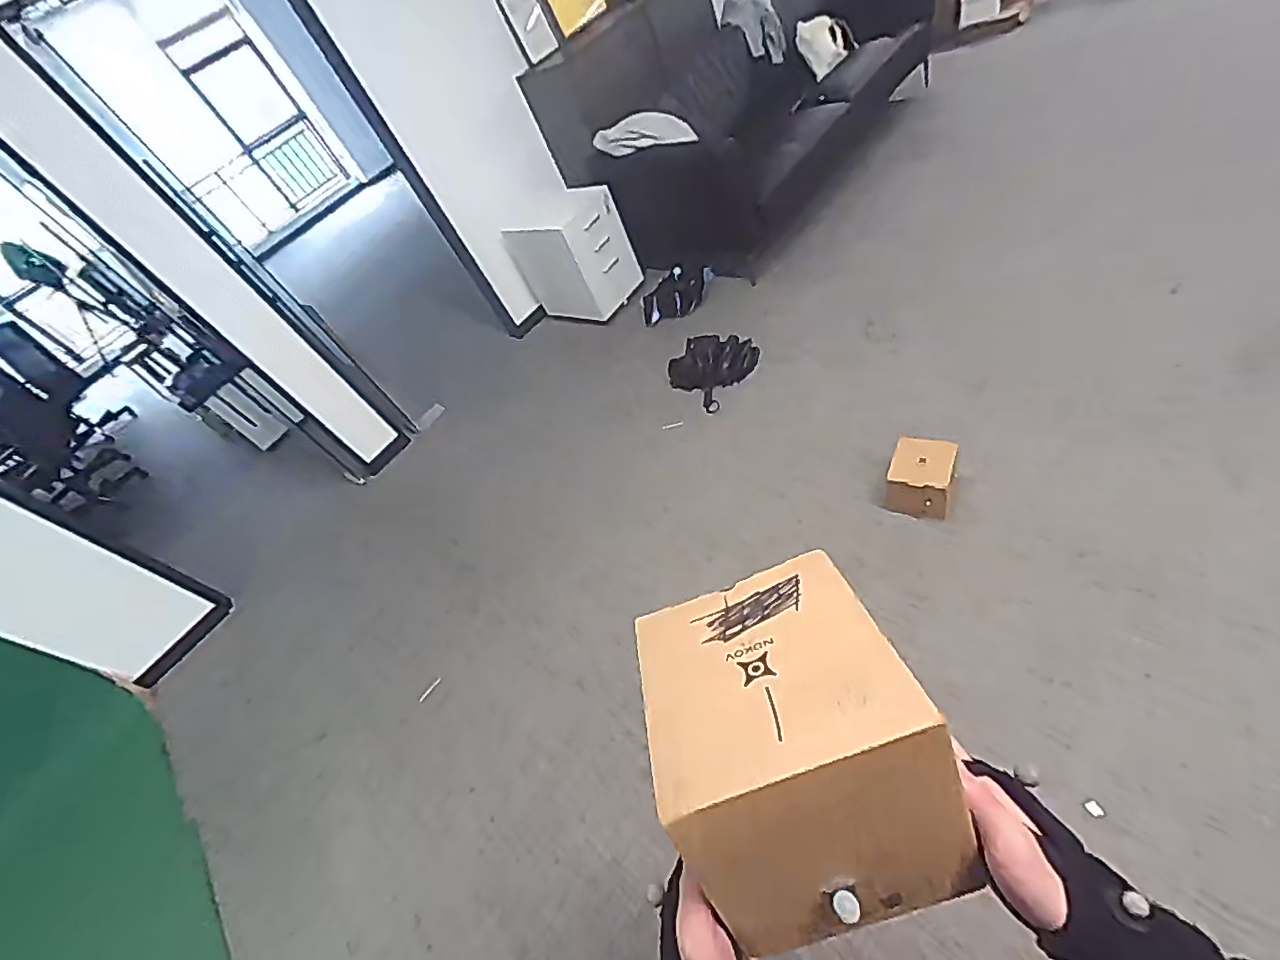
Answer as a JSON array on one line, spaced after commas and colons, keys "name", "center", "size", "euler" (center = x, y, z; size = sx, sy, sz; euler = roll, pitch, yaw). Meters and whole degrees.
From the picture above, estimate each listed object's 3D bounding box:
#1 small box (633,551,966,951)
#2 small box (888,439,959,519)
[{"name": "small box", "center": [0.105, 0.189, 0.399], "size": [0.168, 0.176, 0.179], "euler": [-23, 26, 6]}, {"name": "small box", "center": [0.881, -0.002, 1.677], "size": [0.168, 0.176, 0.179], "euler": [11, 56, 33]}]
